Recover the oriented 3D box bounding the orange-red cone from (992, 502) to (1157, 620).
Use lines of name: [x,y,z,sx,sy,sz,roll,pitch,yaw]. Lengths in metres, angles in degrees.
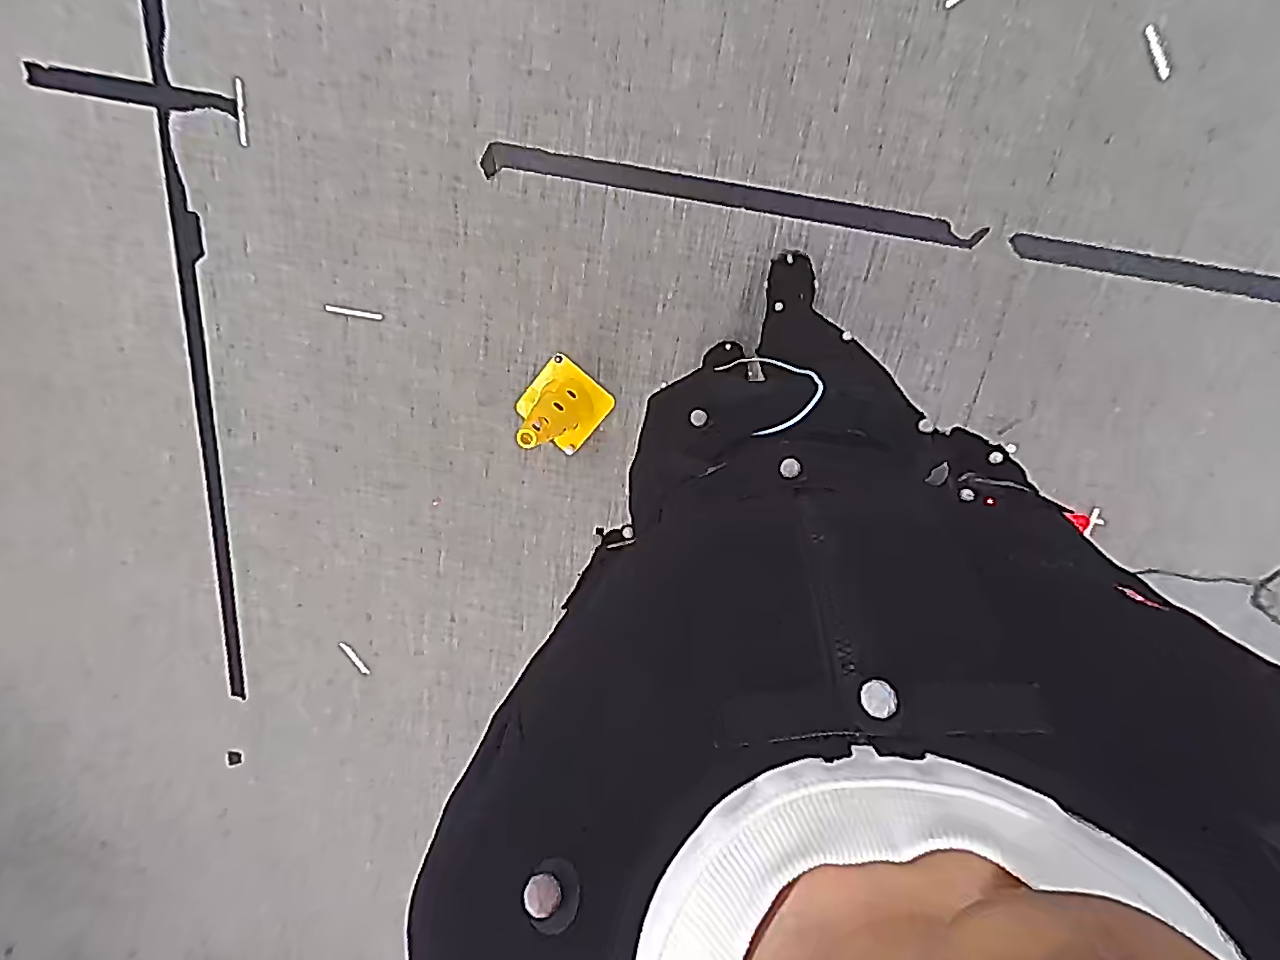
orange-red cone: [1.037,0.217,1.256,0.199,0.360,0.198,17,108,1]
